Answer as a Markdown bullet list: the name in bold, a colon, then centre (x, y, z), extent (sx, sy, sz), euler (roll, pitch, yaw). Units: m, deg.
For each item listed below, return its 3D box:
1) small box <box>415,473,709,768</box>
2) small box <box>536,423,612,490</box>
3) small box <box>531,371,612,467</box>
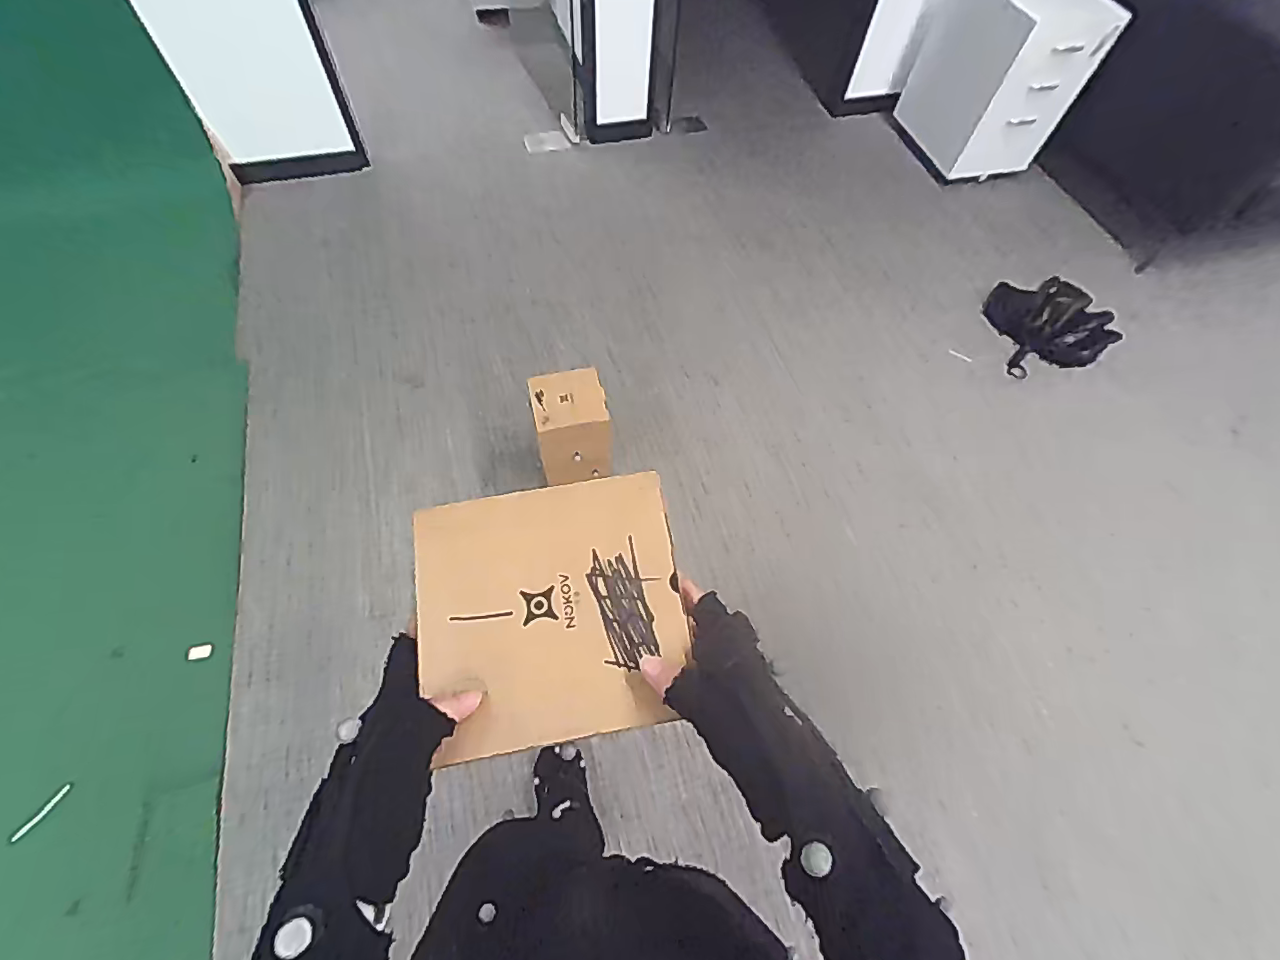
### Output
- **small box**: centre (-0.061, 0.111, 0.437), extent (0.179, 0.176, 0.168), euler (-11, 70, -8)
- **small box**: centre (-0.183, -0.077, 1.518), extent (0.179, 0.176, 0.168), euler (-14, 62, -9)
- **small box**: centre (-0.173, -0.151, 1.372), extent (0.179, 0.176, 0.168), euler (-10, 62, -9)
